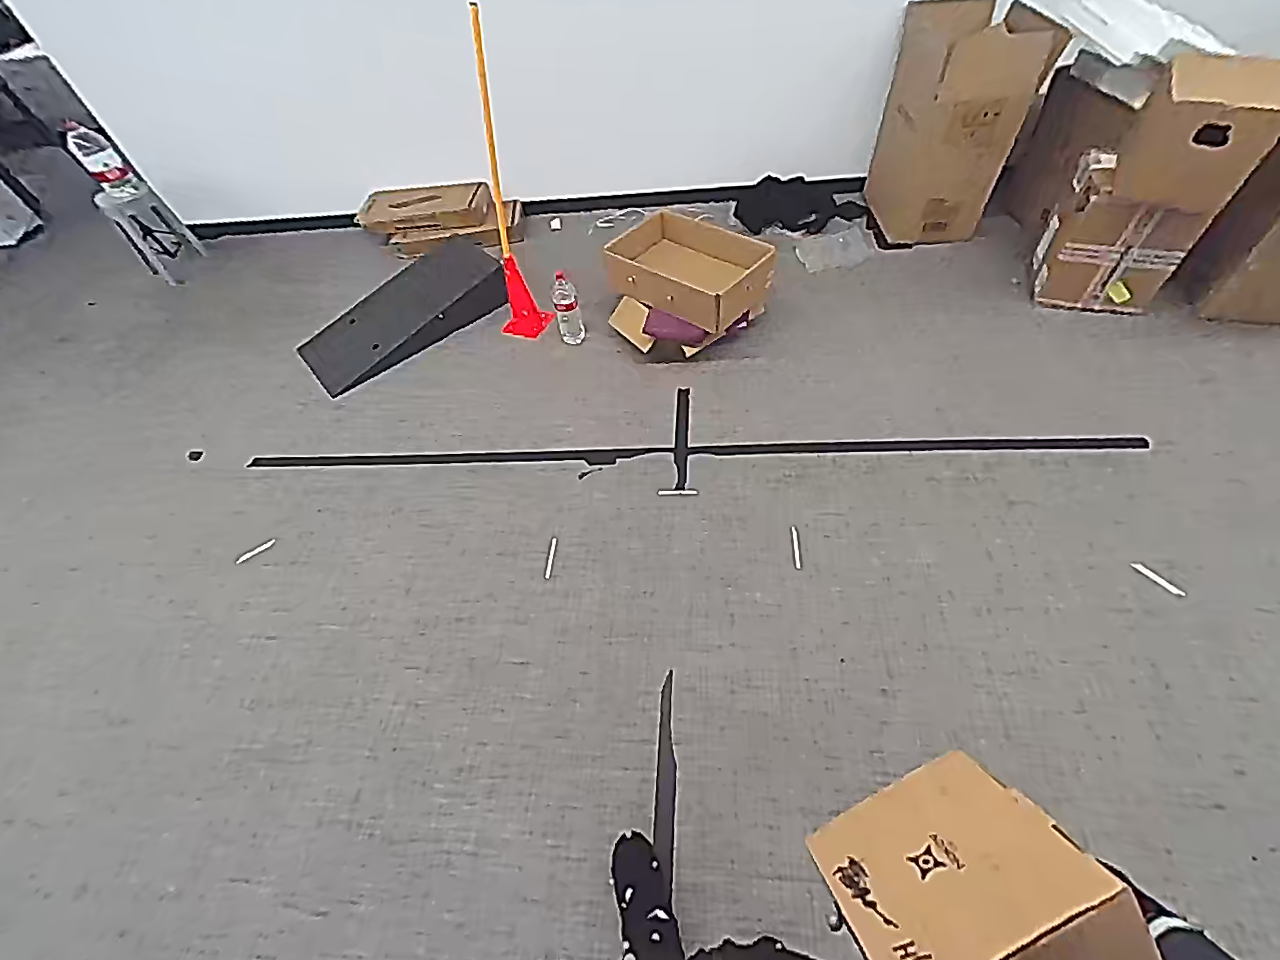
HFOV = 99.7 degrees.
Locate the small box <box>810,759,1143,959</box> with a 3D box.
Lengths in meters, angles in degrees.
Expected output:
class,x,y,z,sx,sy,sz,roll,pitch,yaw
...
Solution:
class,x,y,z,sx,sy,sz,roll,pitch,yaw
small box,0.280,0.386,0.451,0.179,0.168,0.176,-27,95,-3
